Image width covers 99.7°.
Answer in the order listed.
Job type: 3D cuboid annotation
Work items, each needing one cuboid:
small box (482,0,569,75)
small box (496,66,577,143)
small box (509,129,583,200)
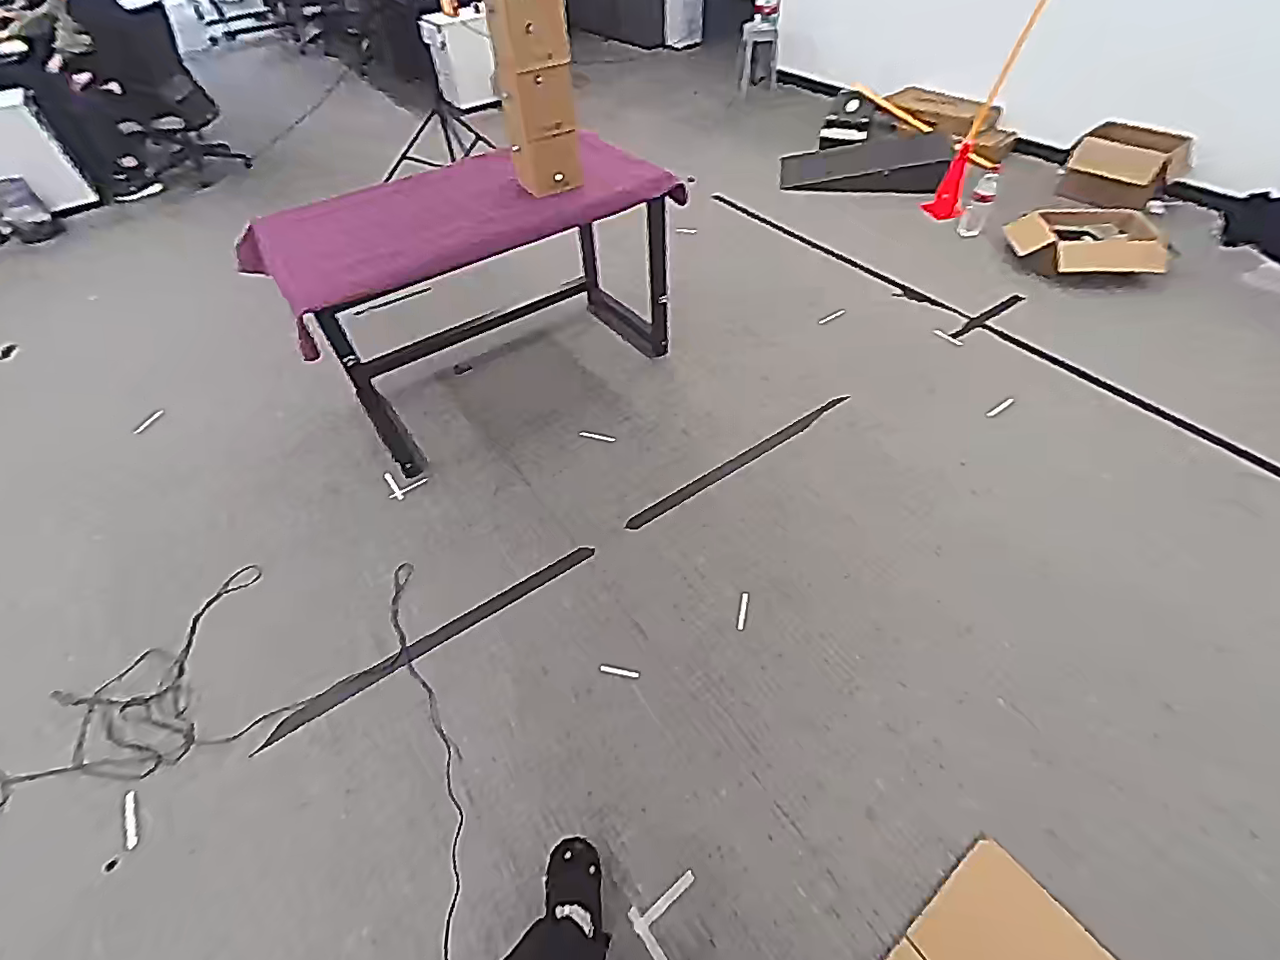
[{"bbox_3d":[-0.309,-1.231,1.480,0.168,0.176,0.179,-26,53,-17],"label":"small box"},{"bbox_3d":[-0.305,-1.130,1.609,0.168,0.176,0.179,-26,52,-16],"label":"small box"},{"bbox_3d":[-0.300,-1.028,1.737,0.168,0.176,0.179,-28,54,-18],"label":"small box"}]
